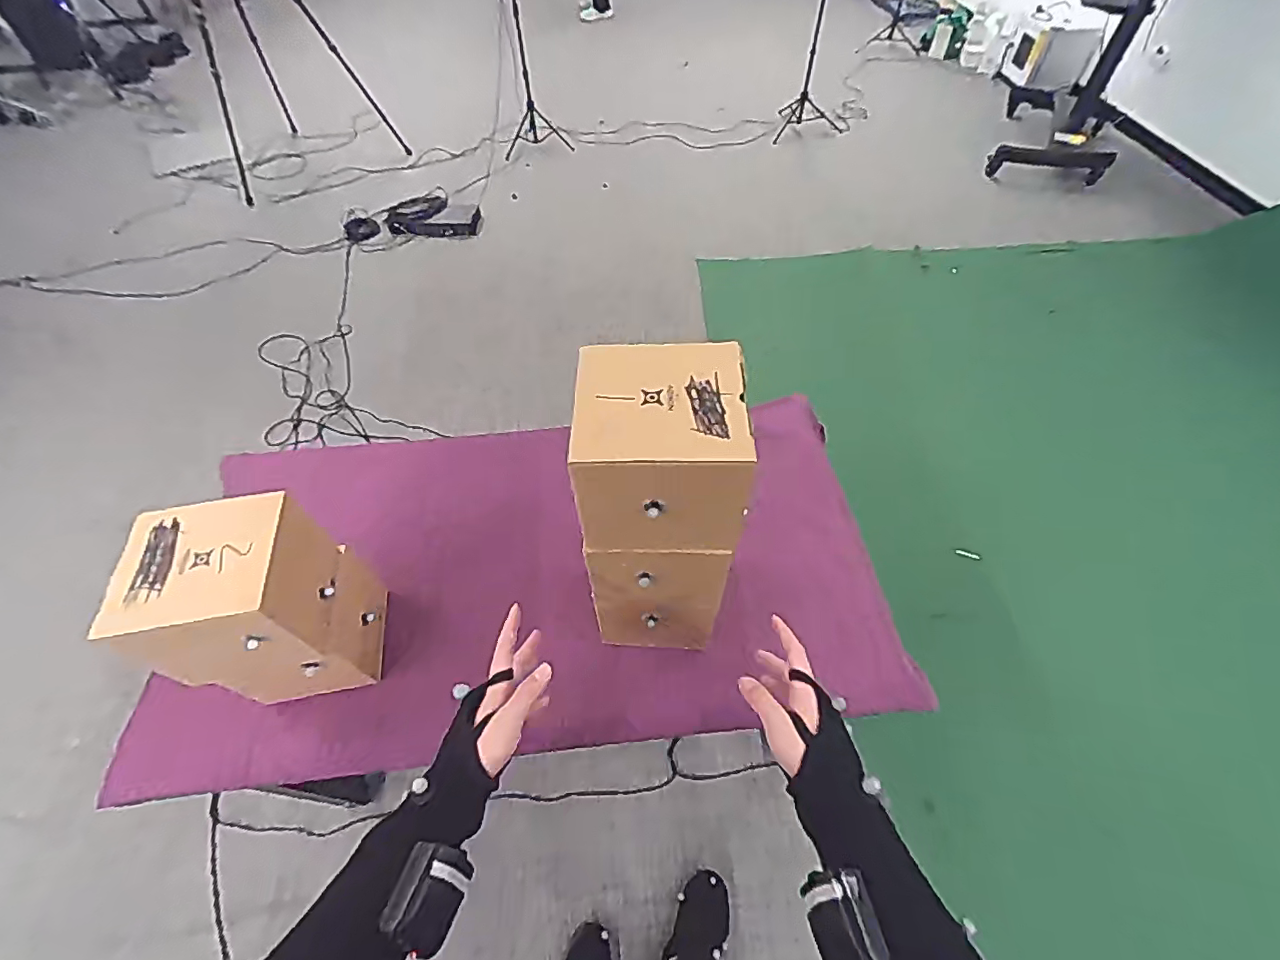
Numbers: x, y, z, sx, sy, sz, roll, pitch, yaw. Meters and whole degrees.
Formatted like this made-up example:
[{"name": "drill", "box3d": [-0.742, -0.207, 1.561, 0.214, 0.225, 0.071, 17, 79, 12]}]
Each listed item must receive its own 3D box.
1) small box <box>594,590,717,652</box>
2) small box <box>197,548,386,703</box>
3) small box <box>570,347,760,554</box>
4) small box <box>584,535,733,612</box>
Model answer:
[{"name": "small box", "box3d": [0.030, 0.166, 0.865, 0.179, 0.176, 0.168, 4, 54, 4]}, {"name": "small box", "box3d": [-0.511, 0.226, 0.829, 0.179, 0.176, 0.168, -9, 54, -5]}, {"name": "small box", "box3d": [0.026, -0.028, 0.600, 0.179, 0.176, 0.168, 0, 54, 2]}, {"name": "small box", "box3d": [0.027, 0.071, 0.732, 0.179, 0.176, 0.168, 0, 55, 3]}]
